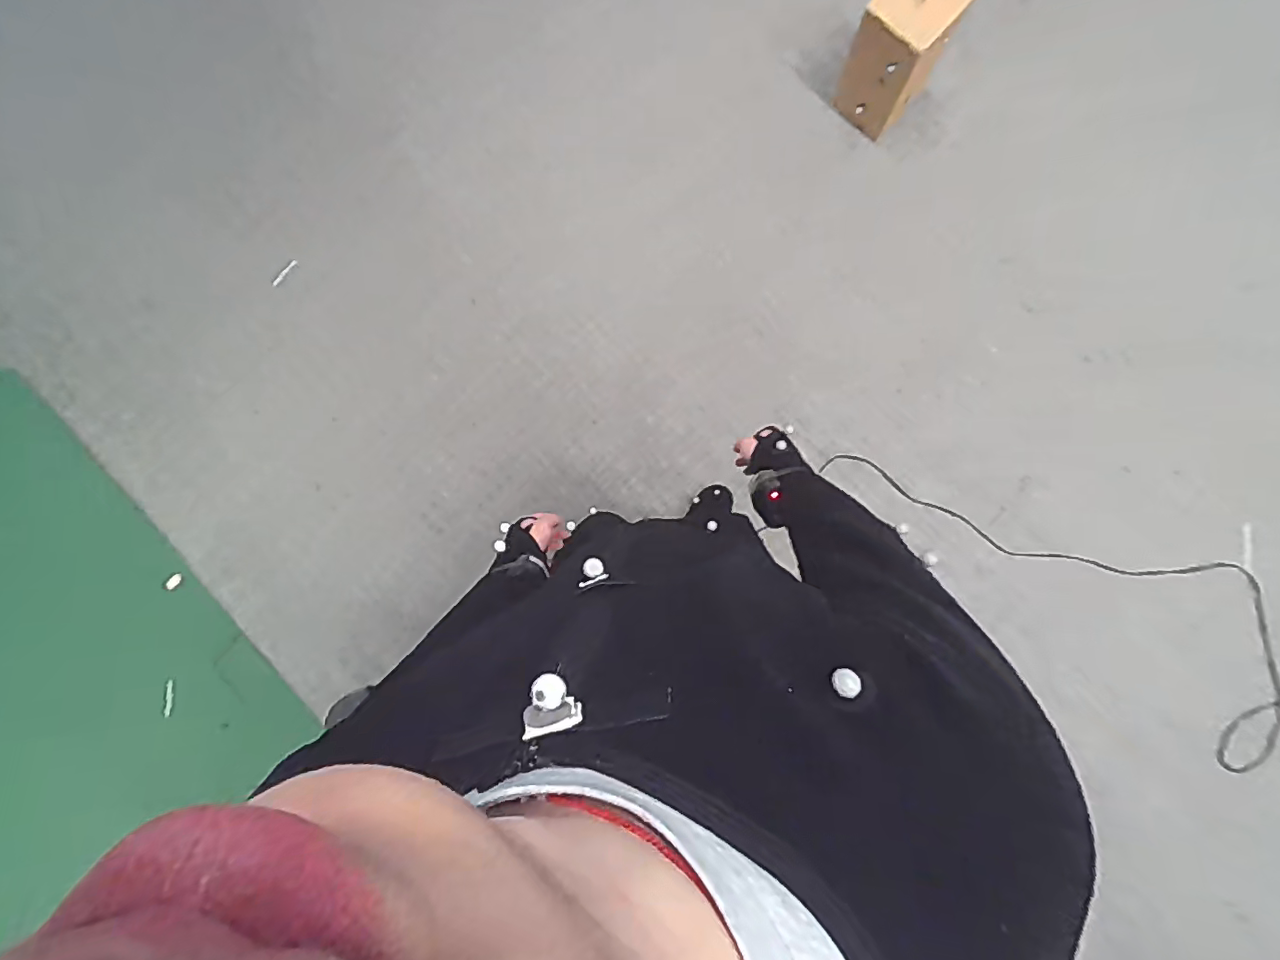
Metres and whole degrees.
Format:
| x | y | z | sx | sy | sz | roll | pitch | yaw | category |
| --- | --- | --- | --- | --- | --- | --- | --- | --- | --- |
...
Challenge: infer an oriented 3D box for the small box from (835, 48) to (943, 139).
| x | y | z | sx | sy | sz | roll | pitch | yaw | category |
| --- | --- | --- | --- | --- | --- | --- | --- | --- | --- |
| 0.627 | -1.034 | 1.392 | 0.168 | 0.176 | 0.179 | 43 | 96 | 4 | small box |

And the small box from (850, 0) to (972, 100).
| x | y | z | sx | sy | sz | roll | pitch | yaw | category |
| --- | --- | --- | --- | --- | --- | --- | --- | --- | --- |
| 0.607 | -1.028 | 1.231 | 0.168 | 0.176 | 0.179 | 43 | 94 | 3 | small box |
